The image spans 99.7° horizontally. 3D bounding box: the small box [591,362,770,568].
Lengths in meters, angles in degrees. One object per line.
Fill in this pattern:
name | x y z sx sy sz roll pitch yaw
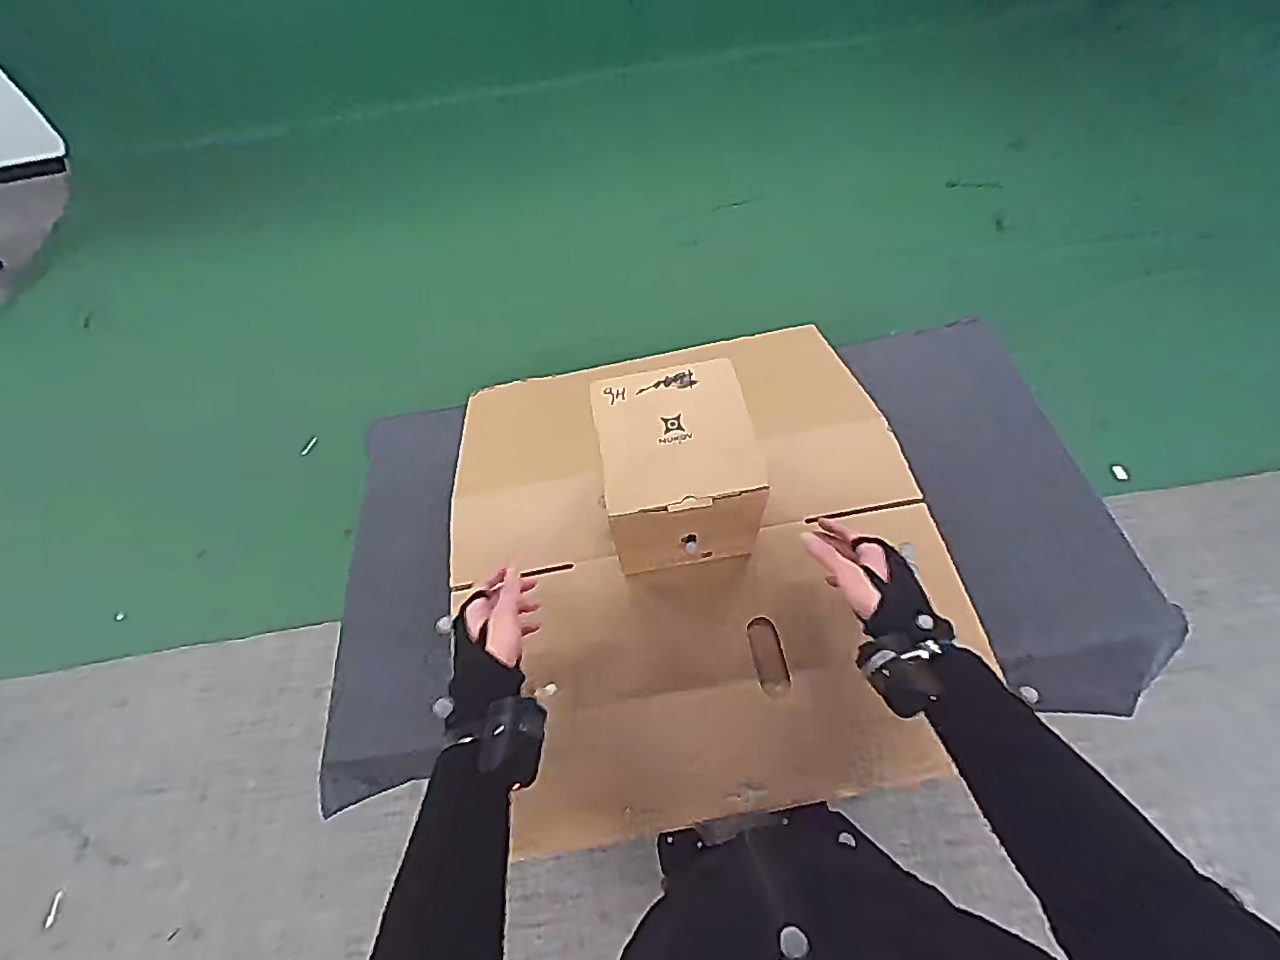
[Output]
small box | 0.045 -0.007 0.647 0.168 0.176 0.179 -12 60 -1
